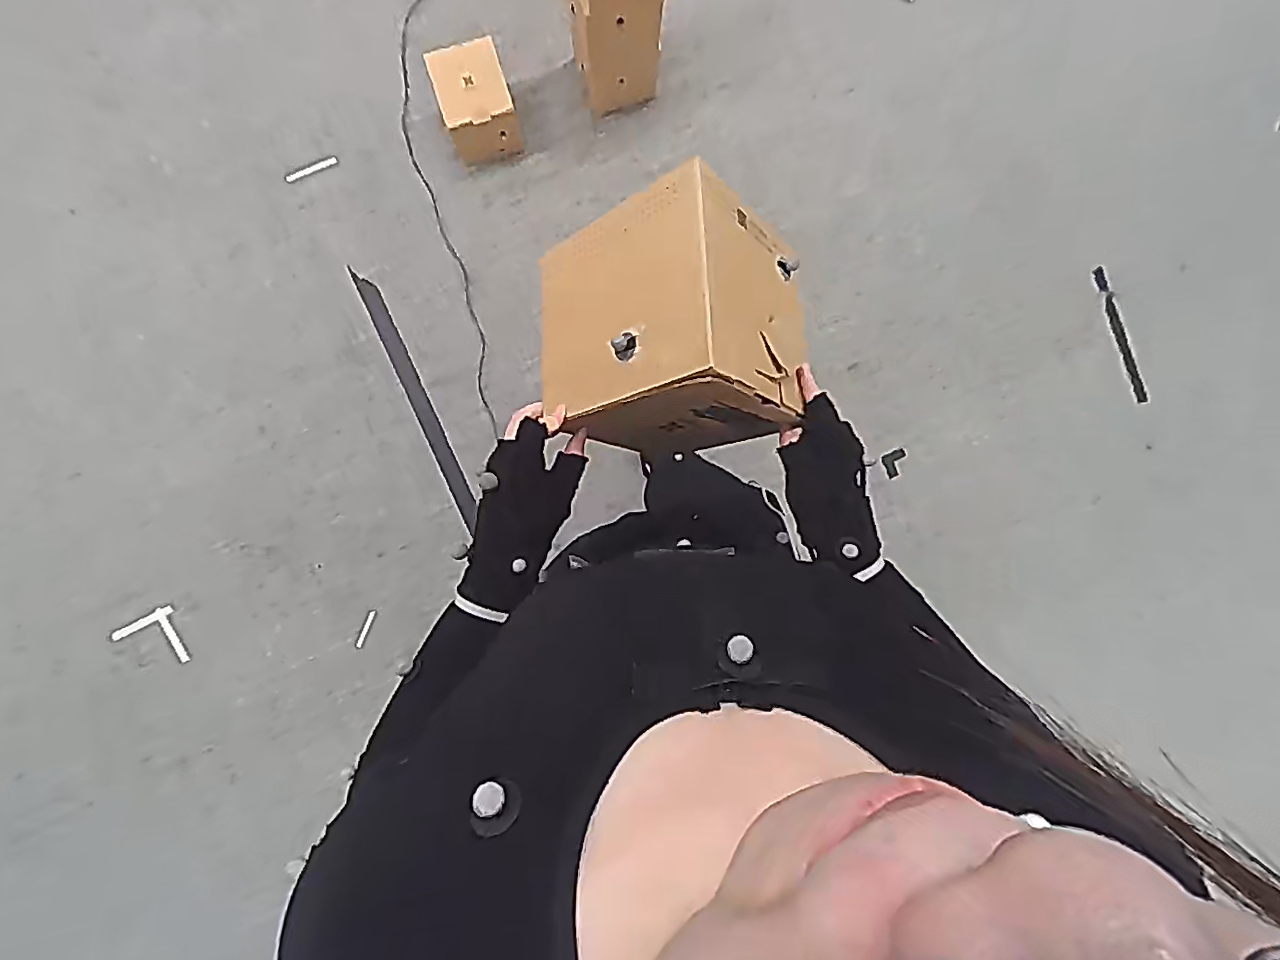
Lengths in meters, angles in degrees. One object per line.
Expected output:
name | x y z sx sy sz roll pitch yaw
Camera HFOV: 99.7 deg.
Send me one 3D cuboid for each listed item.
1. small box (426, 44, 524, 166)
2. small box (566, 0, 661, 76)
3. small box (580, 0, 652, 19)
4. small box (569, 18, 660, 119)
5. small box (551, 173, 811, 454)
small box | -0.398 -0.913 1.340 0.168 0.176 0.179 -18 93 -2
small box | -0.063 -1.036 1.182 0.179 0.176 0.168 -19 93 -2
small box | -0.053 -1.031 1.019 0.179 0.176 0.168 -21 93 -2
small box | -0.062 -1.048 1.347 0.179 0.176 0.168 -21 94 -1
small box | 0.032 -0.132 0.490 0.179 0.168 0.176 -11 75 39
